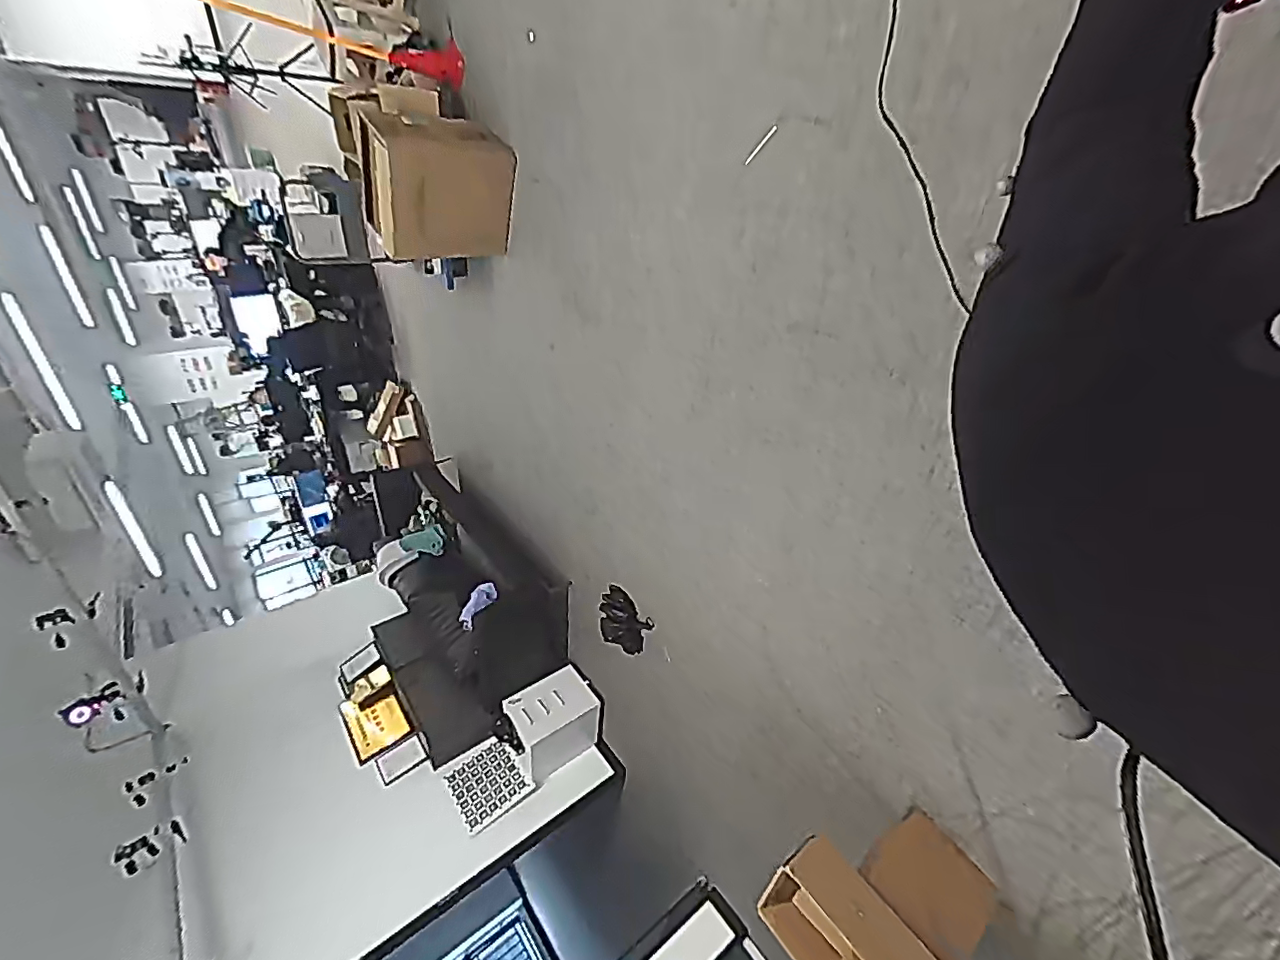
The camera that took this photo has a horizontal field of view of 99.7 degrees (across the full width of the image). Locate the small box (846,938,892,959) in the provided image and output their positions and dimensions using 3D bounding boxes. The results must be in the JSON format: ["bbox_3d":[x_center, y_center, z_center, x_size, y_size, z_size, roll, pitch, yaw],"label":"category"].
[{"bbox_3d":[0.696,1.541,1.633,0.168,0.176,0.179,43,141,38],"label":"small box"}]
